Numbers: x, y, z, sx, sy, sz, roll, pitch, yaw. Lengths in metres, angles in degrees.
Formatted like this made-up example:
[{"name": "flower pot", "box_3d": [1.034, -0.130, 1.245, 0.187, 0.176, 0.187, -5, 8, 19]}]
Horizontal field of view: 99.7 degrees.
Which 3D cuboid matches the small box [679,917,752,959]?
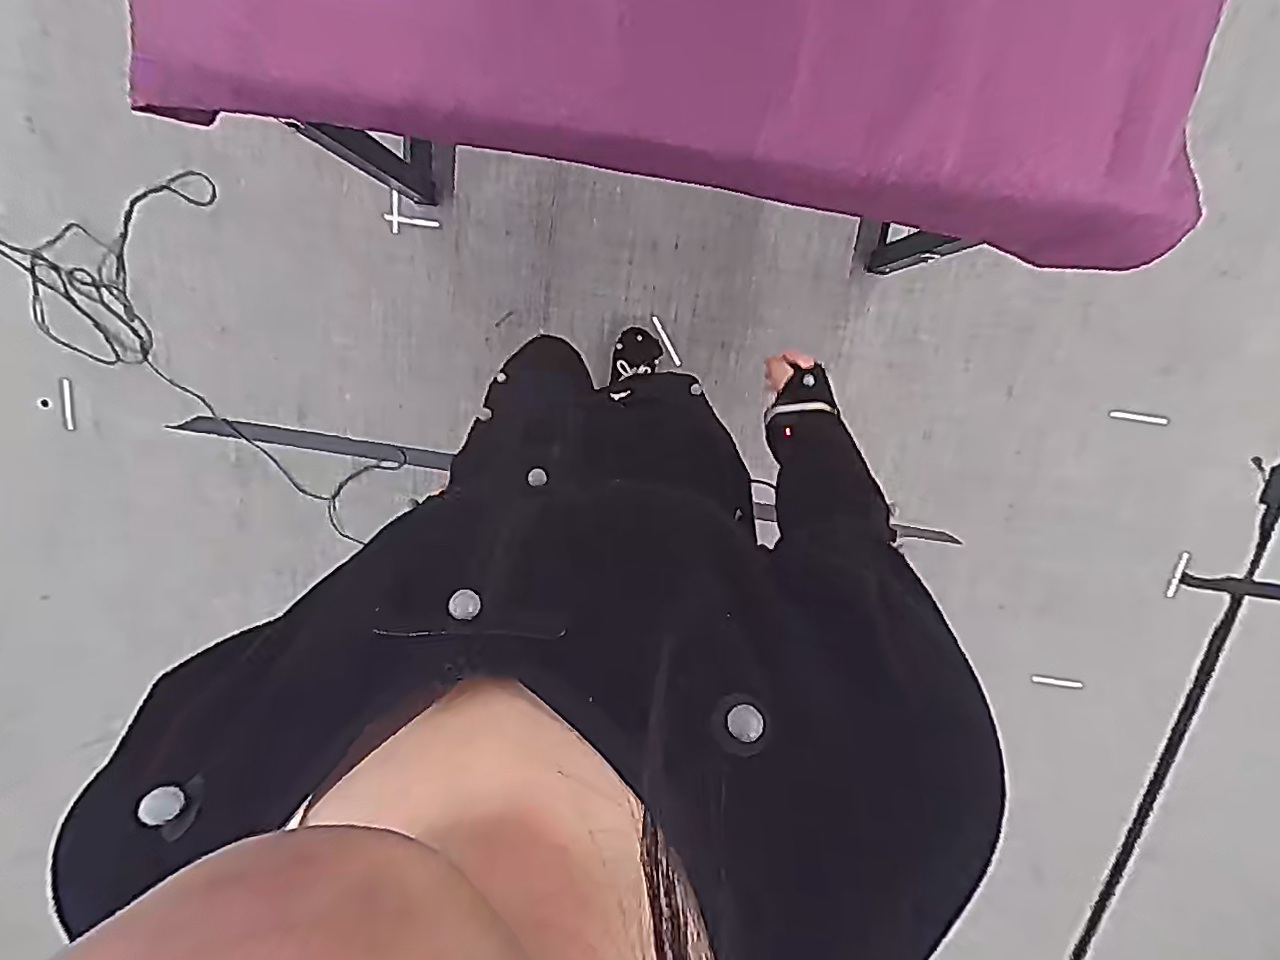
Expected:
[{"name": "small box", "box_3d": [0.221, 1.406, 1.552, 0.168, 0.176, 0.179, -30, 102, 9]}]
